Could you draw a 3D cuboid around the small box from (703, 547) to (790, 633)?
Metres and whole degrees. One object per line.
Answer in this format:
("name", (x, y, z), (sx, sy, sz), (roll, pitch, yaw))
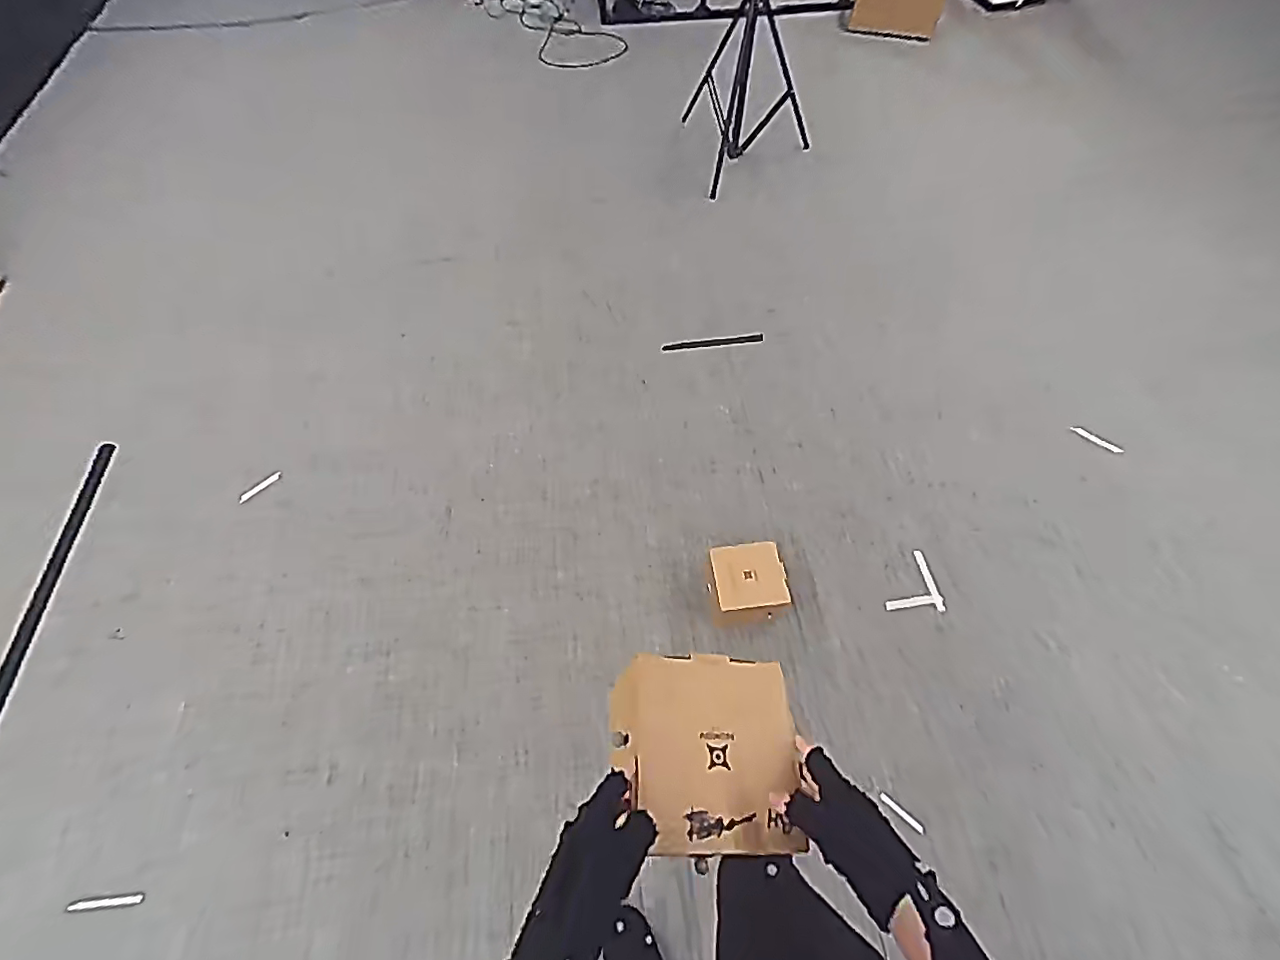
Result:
("small box", (0.270, 0.290, 1.411), (0.179, 0.176, 0.168), (-7, 60, -3))

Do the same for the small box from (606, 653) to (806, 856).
("small box", (0.058, 0.309, 0.601), (0.168, 0.176, 0.179), (7, 54, -10))
